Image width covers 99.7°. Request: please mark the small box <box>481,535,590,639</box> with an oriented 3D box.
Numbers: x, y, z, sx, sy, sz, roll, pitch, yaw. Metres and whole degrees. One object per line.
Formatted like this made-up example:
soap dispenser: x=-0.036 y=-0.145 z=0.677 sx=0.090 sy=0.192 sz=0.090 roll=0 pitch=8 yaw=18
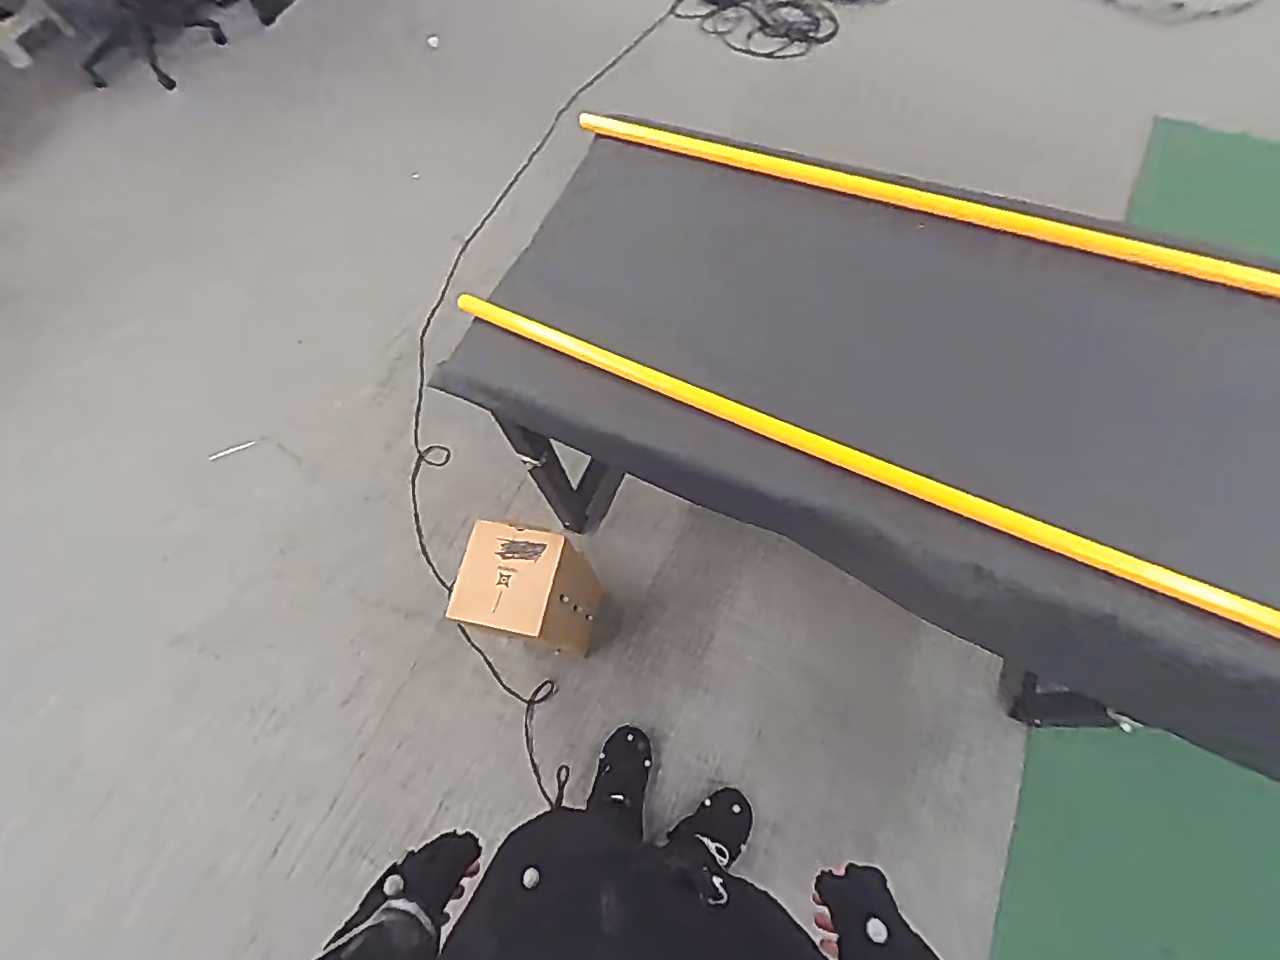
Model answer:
small box: x=-0.210 y=0.232 z=1.143 sx=0.168 sy=0.176 sz=0.179 roll=6 pitch=67 yaw=9
